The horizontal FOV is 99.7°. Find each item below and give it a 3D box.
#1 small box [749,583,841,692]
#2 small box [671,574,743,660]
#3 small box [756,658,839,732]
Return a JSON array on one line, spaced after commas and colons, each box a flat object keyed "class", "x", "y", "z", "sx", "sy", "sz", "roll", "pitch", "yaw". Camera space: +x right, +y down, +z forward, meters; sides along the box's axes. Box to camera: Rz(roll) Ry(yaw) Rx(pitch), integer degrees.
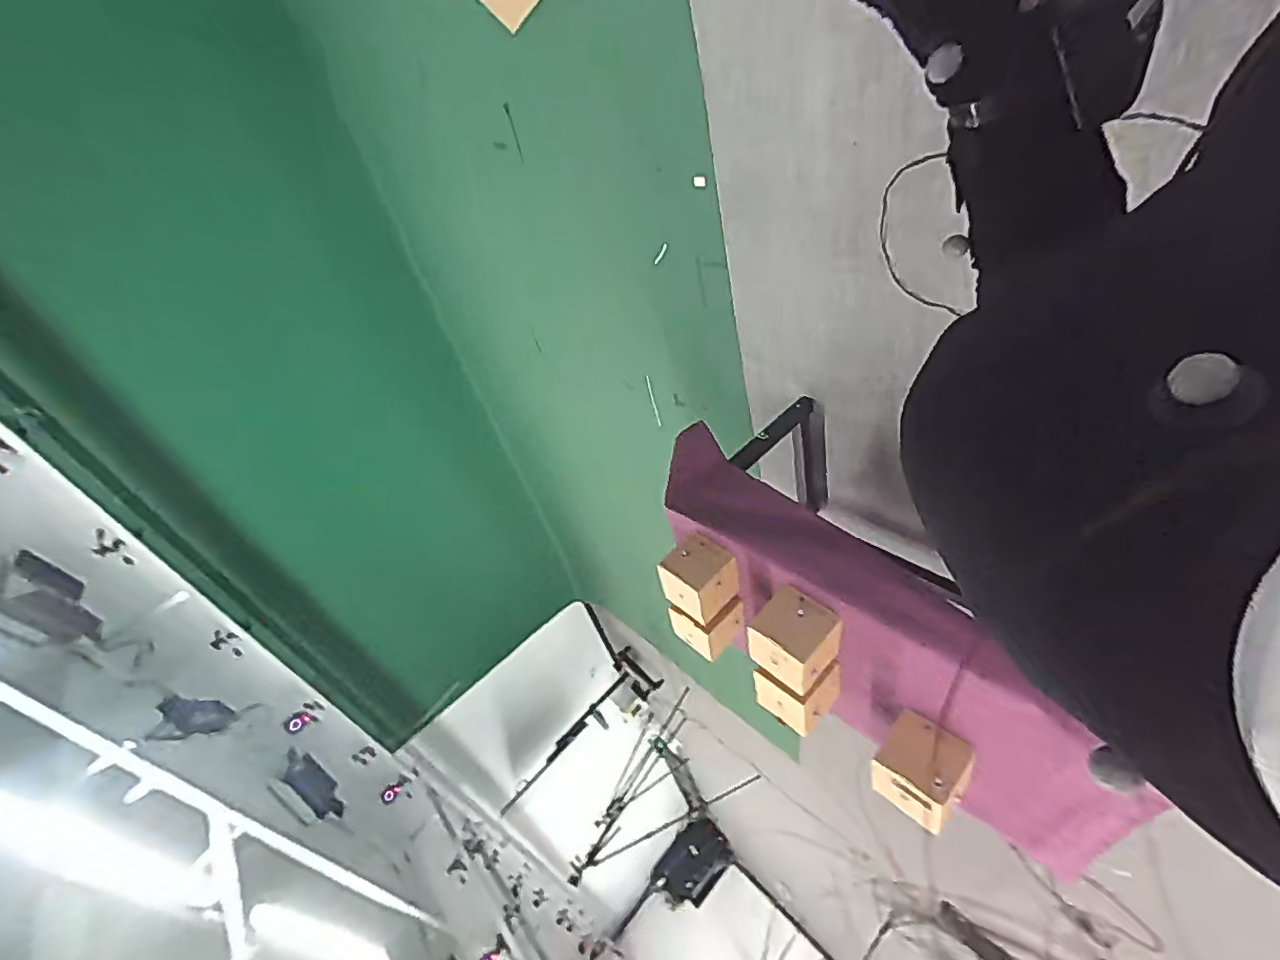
[{"class": "small box", "x": 0.404, "y": 0.407, "z": 1.409, "sx": 0.168, "sy": 0.176, "sz": 0.179, "roll": 30, "pitch": 148, "yaw": 37}, {"class": "small box", "x": 0.224, "y": 0.440, "z": 1.764, "sx": 0.168, "sy": 0.176, "sz": 0.179, "roll": 32, "pitch": 148, "yaw": 36}, {"class": "small box", "x": 0.457, "y": 0.574, "z": 1.555, "sx": 0.168, "sy": 0.176, "sz": 0.179, "roll": 27, "pitch": 146, "yaw": 42}]
